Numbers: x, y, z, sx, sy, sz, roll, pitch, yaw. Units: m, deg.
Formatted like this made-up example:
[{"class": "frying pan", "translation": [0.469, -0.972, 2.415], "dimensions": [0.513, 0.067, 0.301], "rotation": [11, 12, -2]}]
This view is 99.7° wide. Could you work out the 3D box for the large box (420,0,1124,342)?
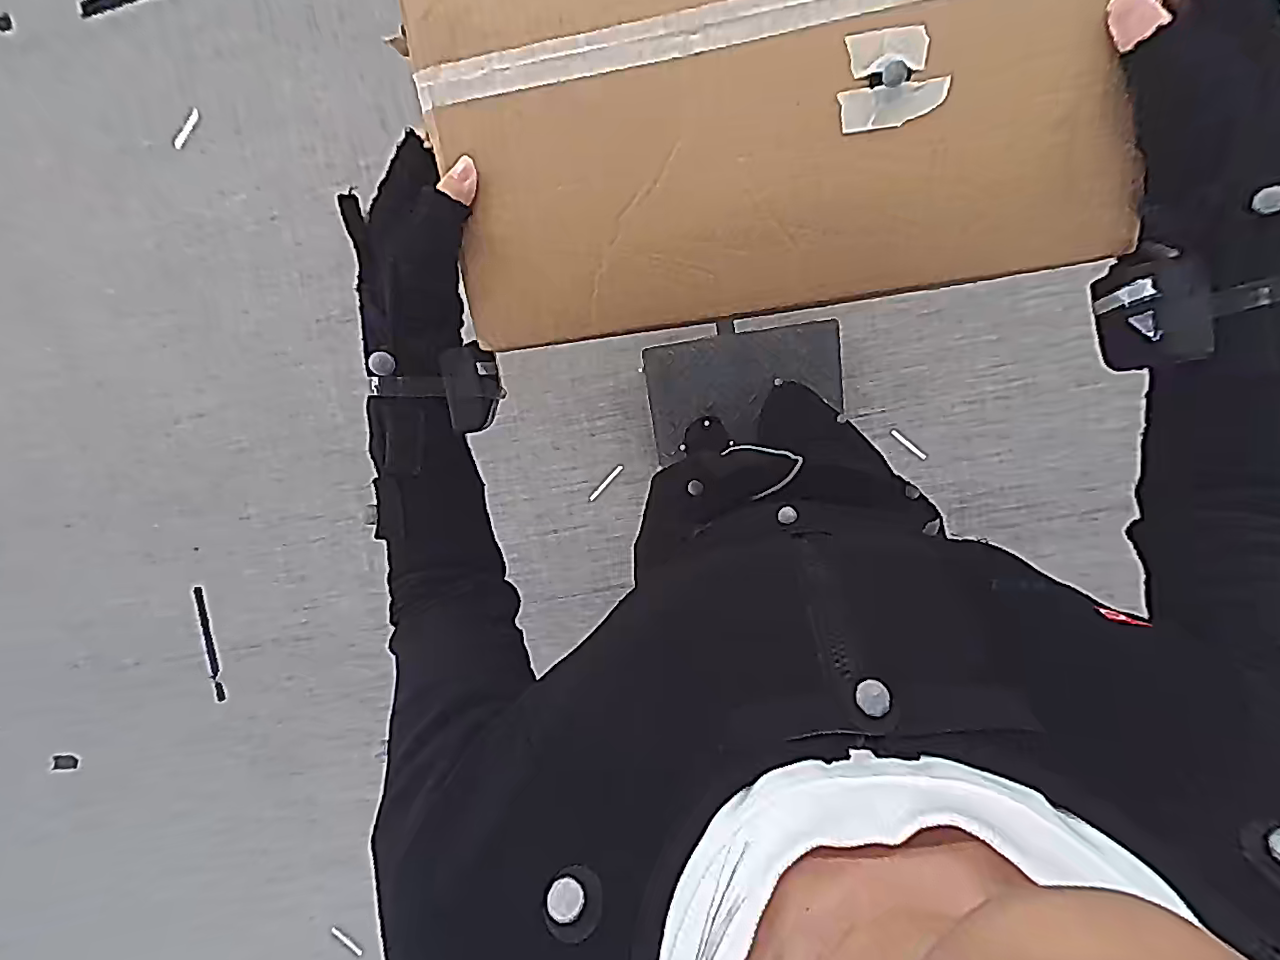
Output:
[{"class": "large box", "translation": [0.079, -0.308, 0.460], "dimensions": [0.408, 0.320, 0.320], "rotation": [-7, 106, 7]}]
